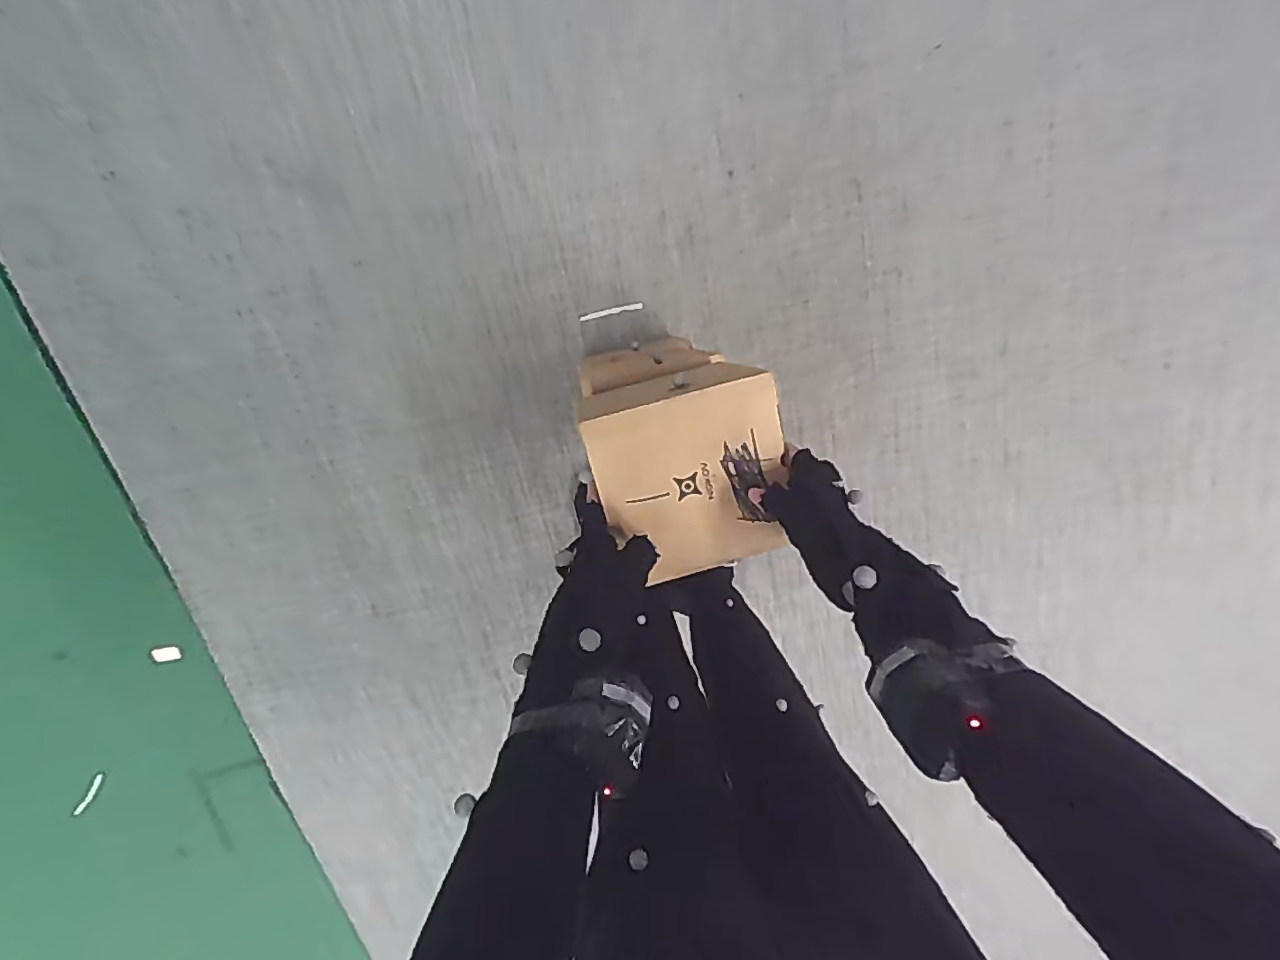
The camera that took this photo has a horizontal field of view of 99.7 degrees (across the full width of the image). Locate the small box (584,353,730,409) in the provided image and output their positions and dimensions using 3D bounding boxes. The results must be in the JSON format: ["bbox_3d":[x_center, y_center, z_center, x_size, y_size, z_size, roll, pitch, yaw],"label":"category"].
[{"bbox_3d":[0.023,-0.076,0.738,0.179,0.176,0.168,-10,107,-3],"label":"small box"}]

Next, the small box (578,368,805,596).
[{"bbox_3d":[0.043,-0.012,0.564,0.179,0.176,0.168,-19,107,-3],"label":"small box"}]

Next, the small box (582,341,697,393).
[{"bbox_3d":[0.007,-0.129,0.892,0.179,0.176,0.168,-13,107,0],"label":"small box"}]
